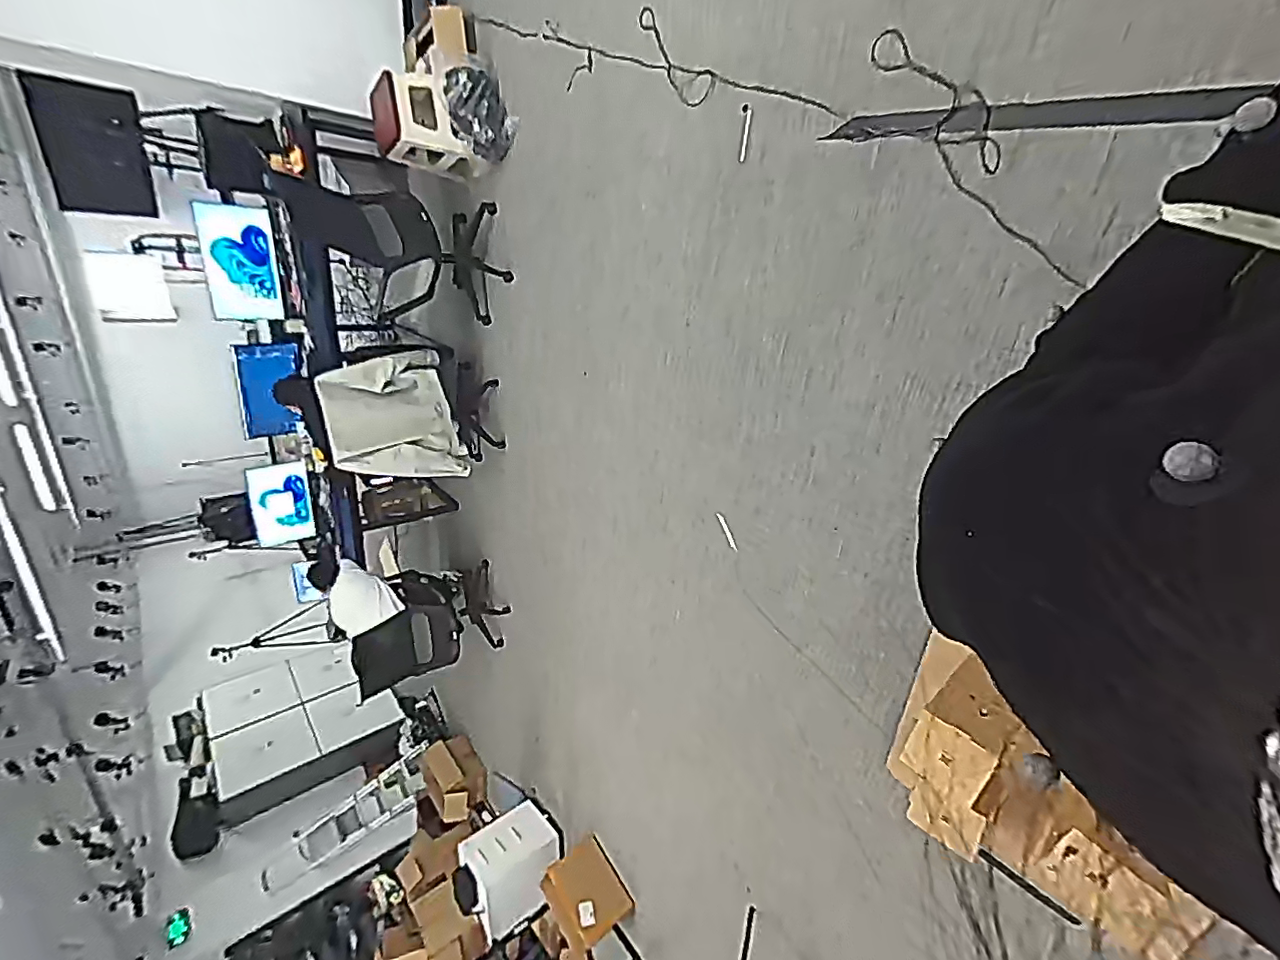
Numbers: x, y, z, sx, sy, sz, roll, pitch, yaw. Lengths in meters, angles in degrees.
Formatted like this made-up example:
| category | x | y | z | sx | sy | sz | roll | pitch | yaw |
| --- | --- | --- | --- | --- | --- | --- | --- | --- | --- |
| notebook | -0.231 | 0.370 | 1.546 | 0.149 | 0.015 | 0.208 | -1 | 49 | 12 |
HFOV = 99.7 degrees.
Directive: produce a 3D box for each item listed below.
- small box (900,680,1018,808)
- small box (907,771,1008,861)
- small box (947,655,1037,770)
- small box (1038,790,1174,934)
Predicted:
| category | x | y | z | sx | sy | sz | roll | pitch | yaw |
| --- | --- | --- | --- | --- | --- | --- | --- | --- | --- |
| small box | 0.759 | 0.617 | 1.282 | 0.168 | 0.176 | 0.179 | 31 | 123 | 40 |
| small box | 0.872 | 0.879 | 1.487 | 0.179 | 0.176 | 0.168 | 22 | 118 | 45 |
| small box | 0.882 | 0.587 | 1.385 | 0.168 | 0.176 | 0.179 | 27 | 120 | 42 |
| small box | 1.071 | 0.867 | 1.242 | 0.179 | 0.176 | 0.168 | 36 | 126 | 36 |
